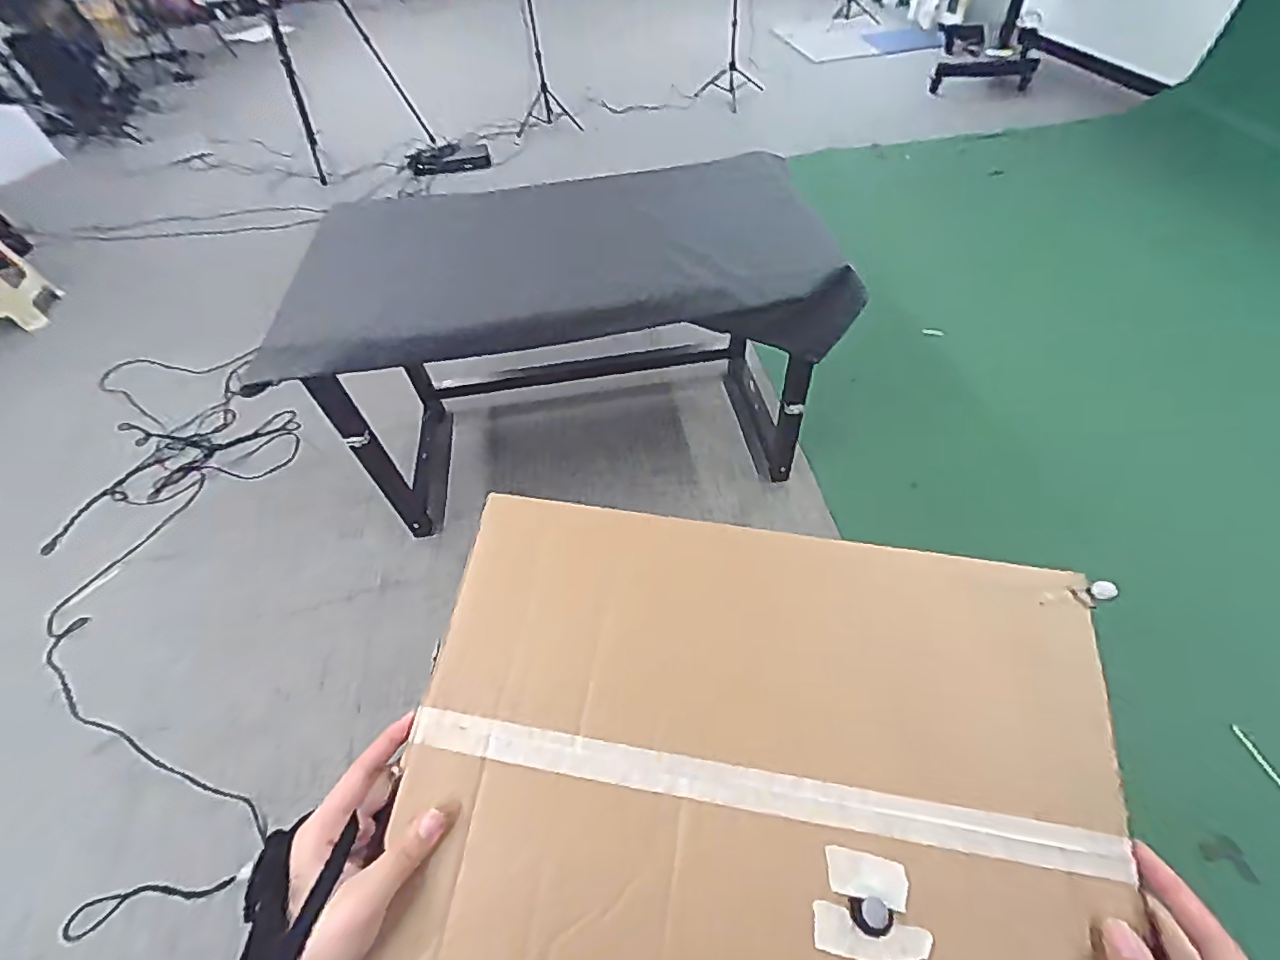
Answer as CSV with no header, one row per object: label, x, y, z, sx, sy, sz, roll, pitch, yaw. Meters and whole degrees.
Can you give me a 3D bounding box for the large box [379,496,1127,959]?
large box,0.074,0.231,0.466,0.408,0.320,0.320,7,67,6
